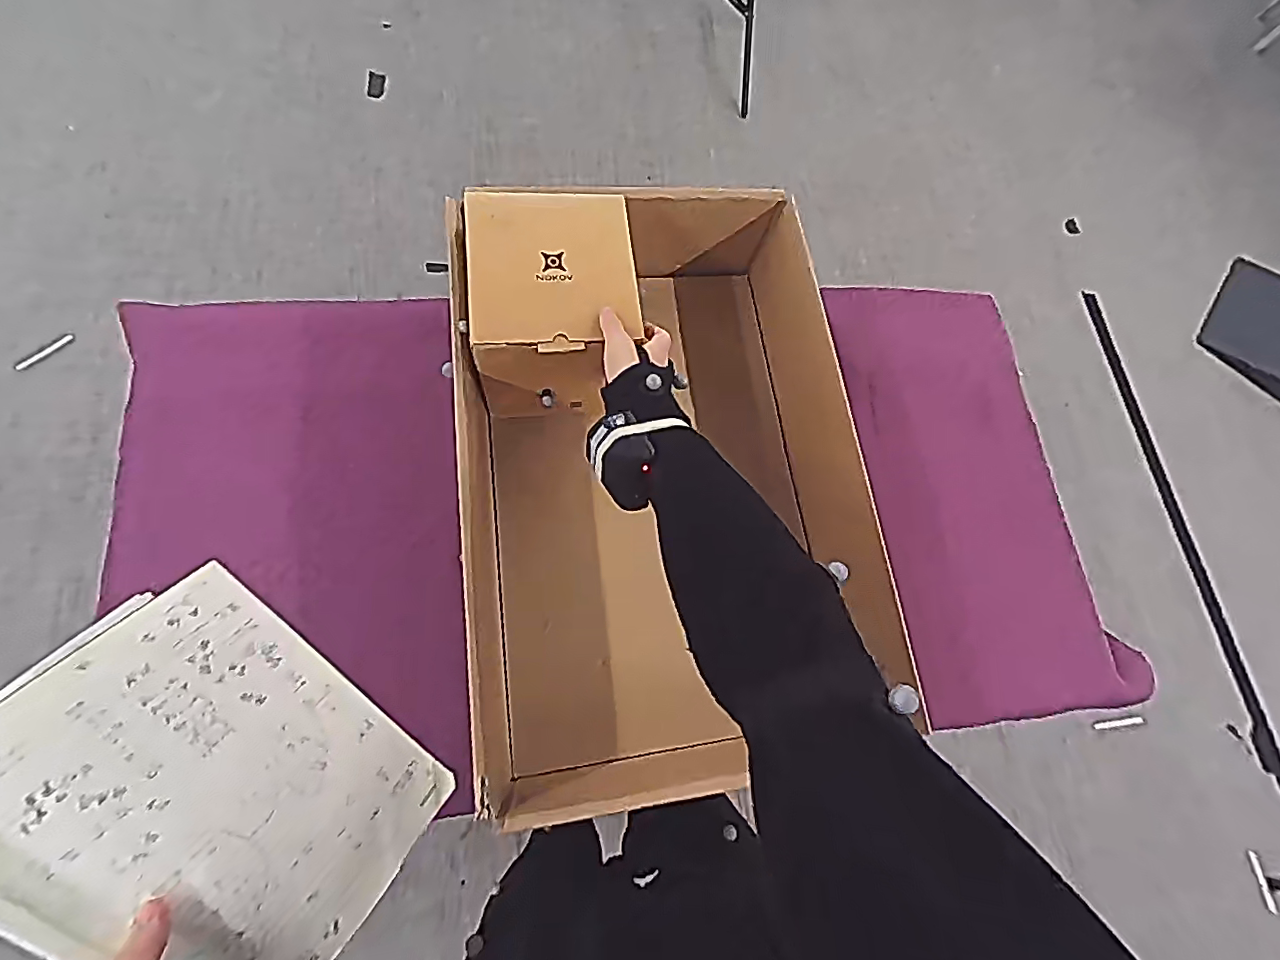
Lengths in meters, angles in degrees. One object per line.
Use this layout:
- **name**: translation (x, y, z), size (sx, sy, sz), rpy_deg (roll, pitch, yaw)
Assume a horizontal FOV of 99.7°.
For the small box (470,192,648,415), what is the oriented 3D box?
- **small box**: translation (-0.096, -0.188, 0.609), size (0.168, 0.176, 0.179), rpy_deg (-5, 75, -11)
